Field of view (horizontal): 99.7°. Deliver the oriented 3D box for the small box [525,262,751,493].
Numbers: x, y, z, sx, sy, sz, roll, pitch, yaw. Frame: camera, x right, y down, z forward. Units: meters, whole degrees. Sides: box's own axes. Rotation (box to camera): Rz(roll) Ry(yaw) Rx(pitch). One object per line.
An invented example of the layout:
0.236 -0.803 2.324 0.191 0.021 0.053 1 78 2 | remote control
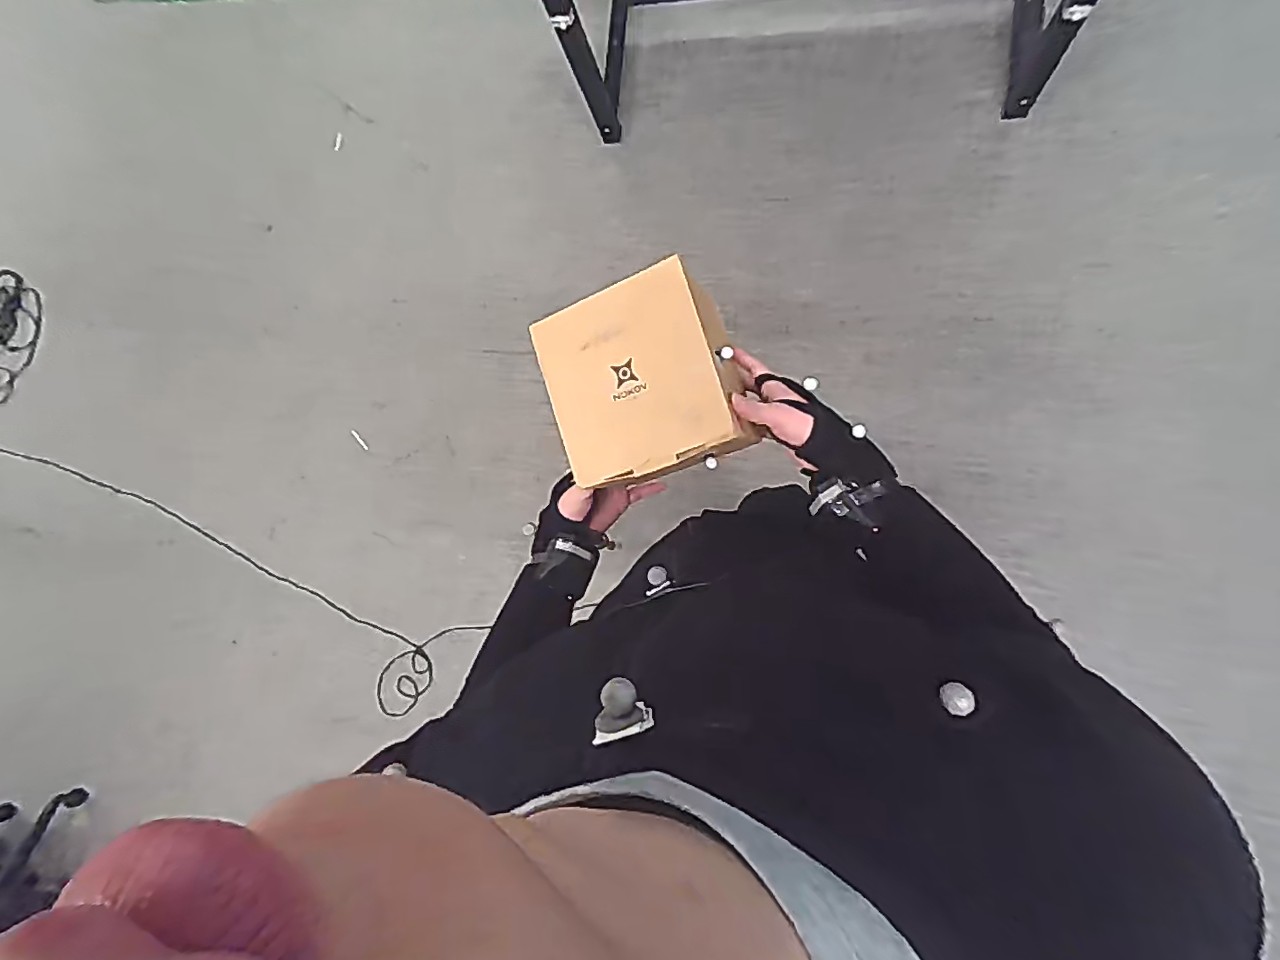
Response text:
0.009 -0.096 0.582 0.168 0.176 0.179 -19 85 20 | small box
